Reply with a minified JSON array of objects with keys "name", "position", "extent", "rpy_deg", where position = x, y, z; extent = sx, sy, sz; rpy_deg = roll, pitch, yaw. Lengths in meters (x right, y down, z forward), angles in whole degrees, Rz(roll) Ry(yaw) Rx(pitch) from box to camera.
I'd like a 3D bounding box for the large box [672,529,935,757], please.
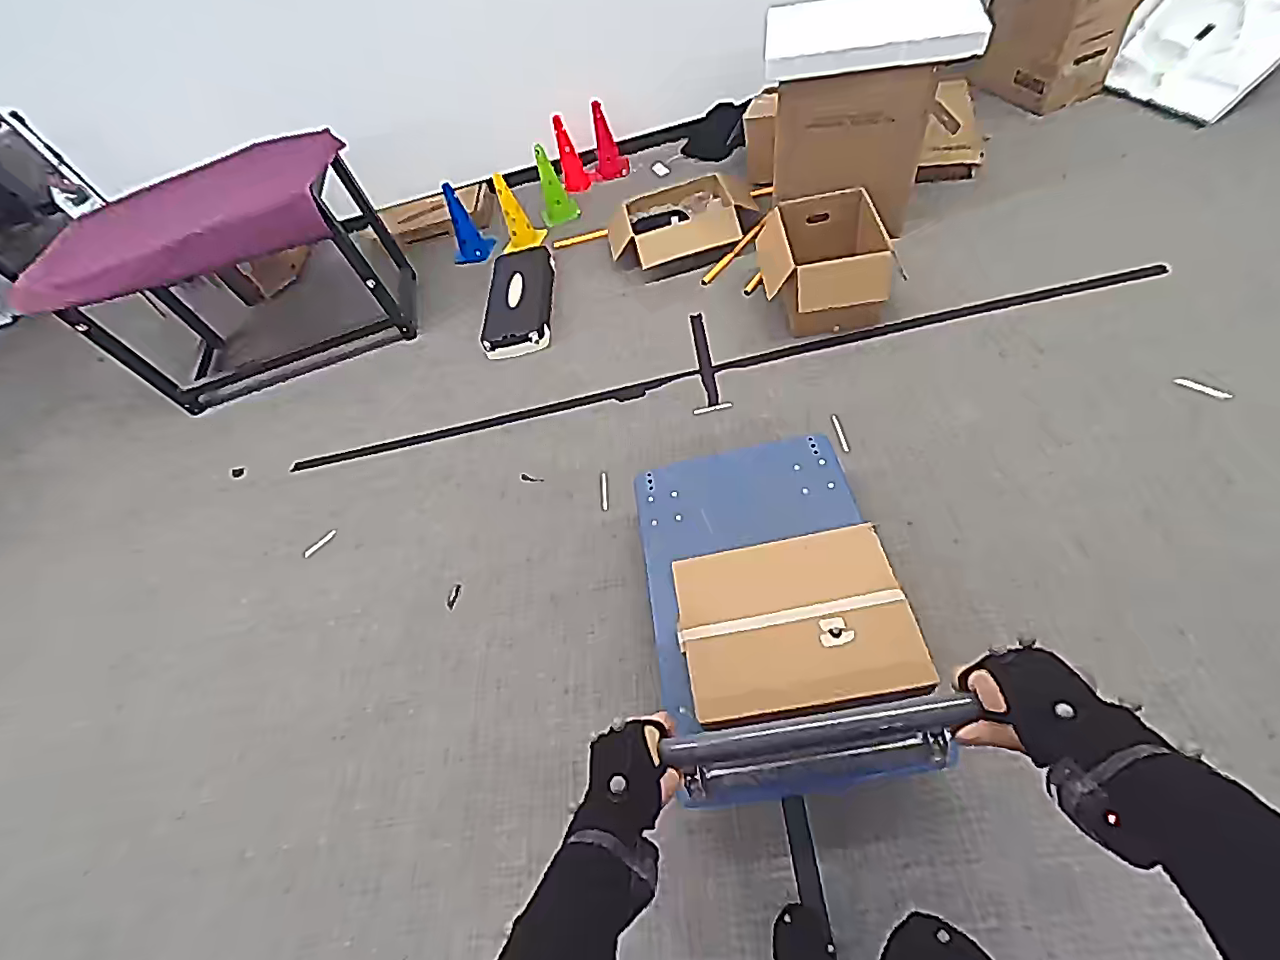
[{"name":"large box","position":[0.301,0.343,1.102],"extent":[0.408,0.320,0.320],"rpy_deg":[-12,54,5]}]
